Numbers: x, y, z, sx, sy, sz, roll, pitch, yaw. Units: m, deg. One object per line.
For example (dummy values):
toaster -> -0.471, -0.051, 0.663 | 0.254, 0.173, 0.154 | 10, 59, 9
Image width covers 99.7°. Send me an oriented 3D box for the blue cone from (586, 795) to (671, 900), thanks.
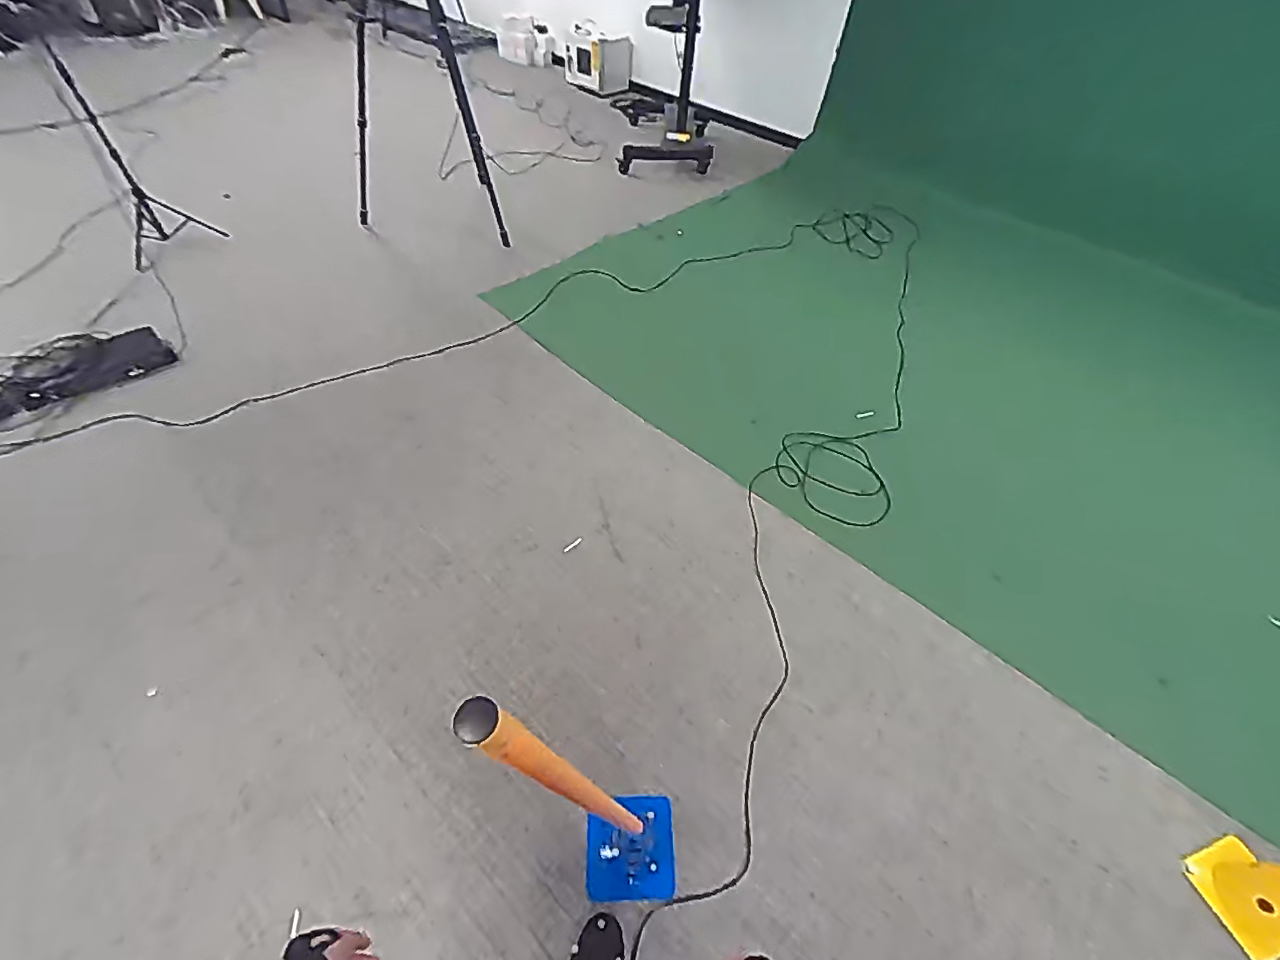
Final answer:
blue cone -> -0.021, 0.725, 1.095 | 0.193, 0.380, 0.192 | -1, 51, -4
